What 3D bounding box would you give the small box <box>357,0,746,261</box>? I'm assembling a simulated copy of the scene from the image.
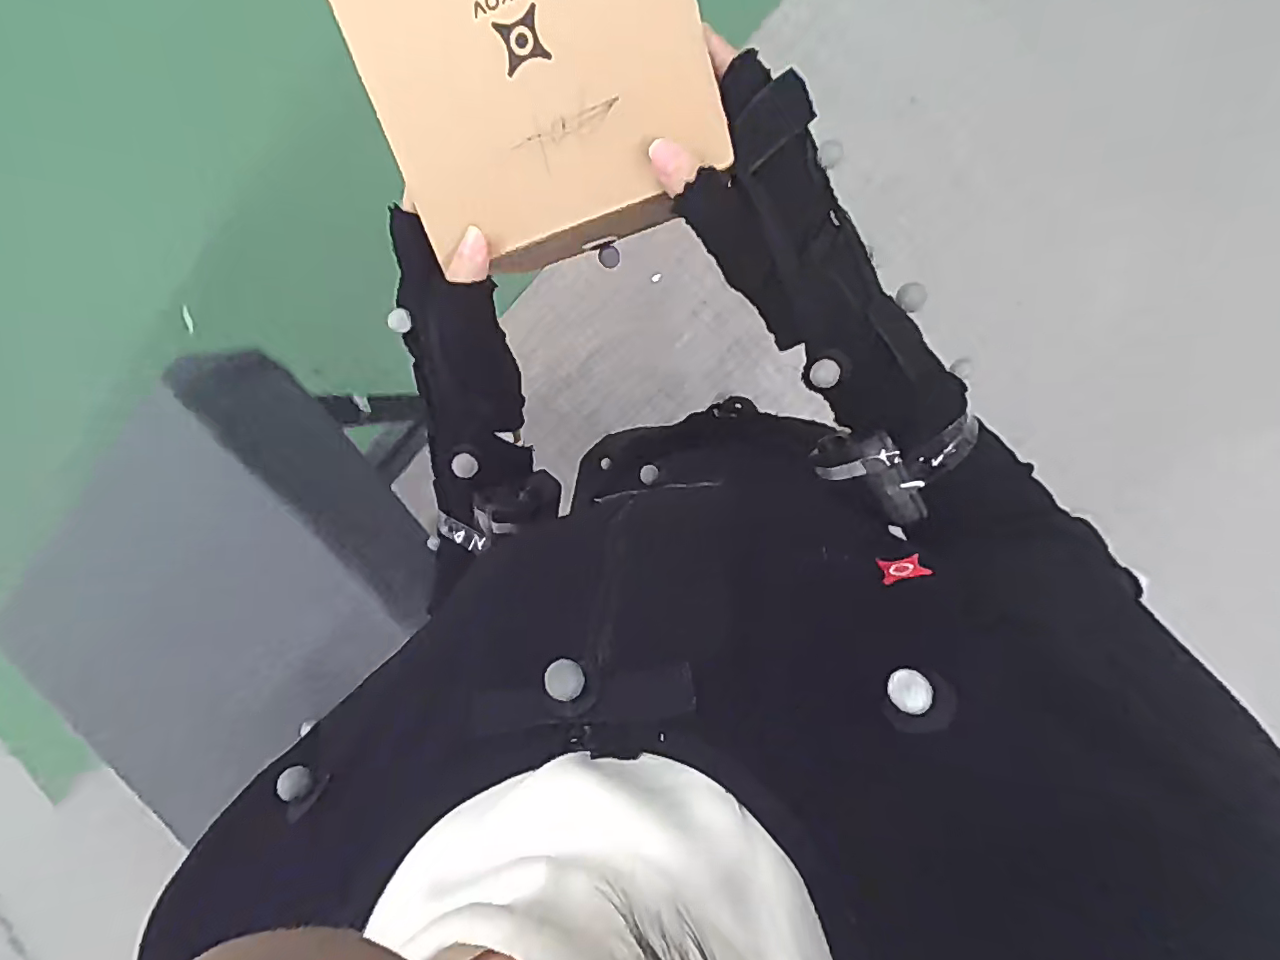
[{"bbox_3d":[-0.040,-0.246,0.330,0.168,0.176,0.179,-14,109,12],"label":"small box"}]
